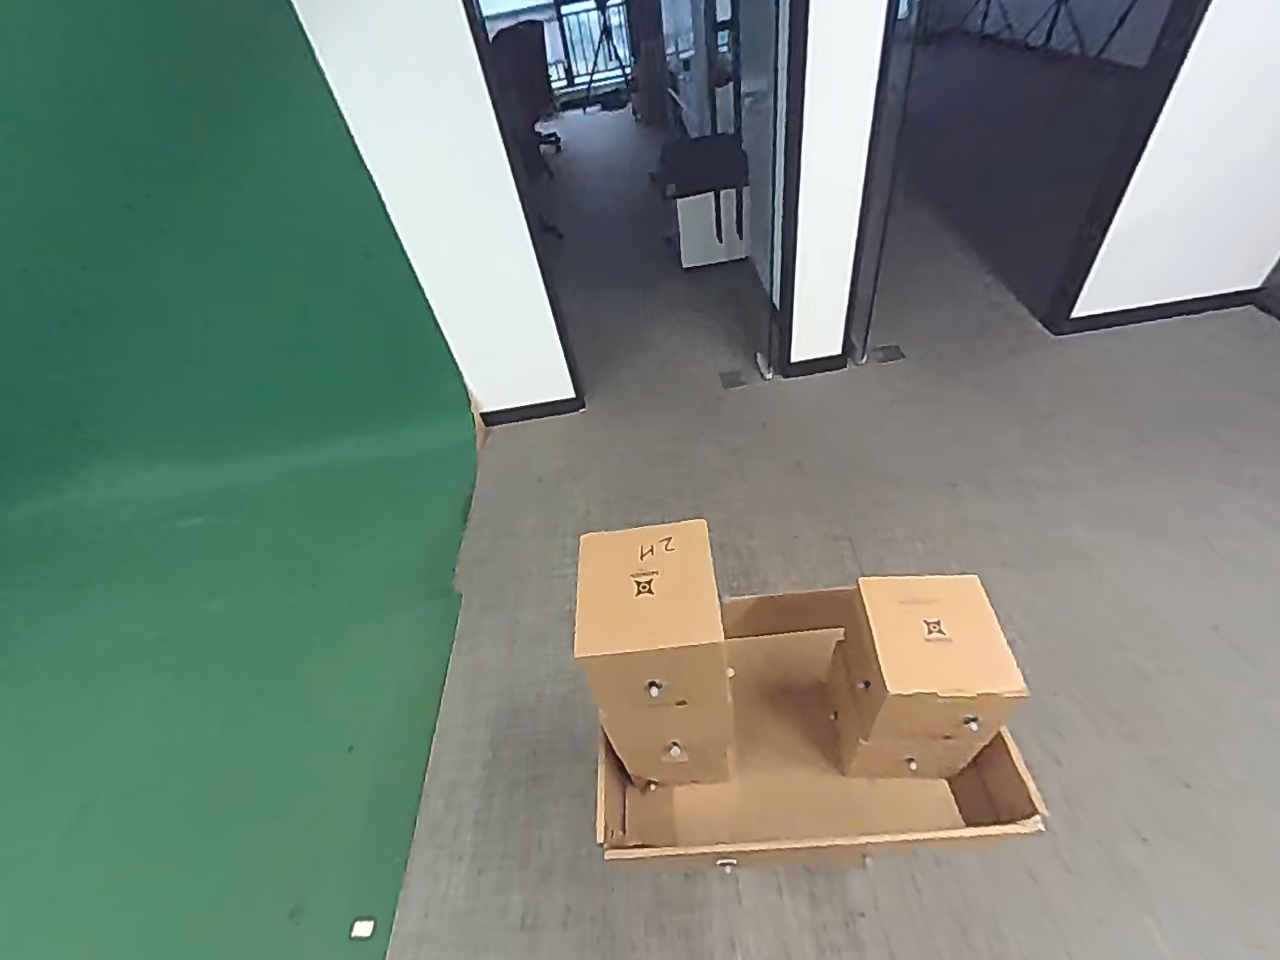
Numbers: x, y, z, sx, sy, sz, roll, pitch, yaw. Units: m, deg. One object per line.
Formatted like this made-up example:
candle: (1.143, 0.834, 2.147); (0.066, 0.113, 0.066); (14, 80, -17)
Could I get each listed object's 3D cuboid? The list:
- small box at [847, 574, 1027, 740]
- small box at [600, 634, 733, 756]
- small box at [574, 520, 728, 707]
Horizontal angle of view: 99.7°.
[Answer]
small box: (0.403, 0.254, 0.771); (0.168, 0.176, 0.179); (-2, 44, 9)
small box: (0.041, 0.296, 0.811); (0.179, 0.176, 0.168); (-8, 44, 4)
small box: (0.019, 0.178, 0.697); (0.168, 0.176, 0.179); (-7, 44, 5)
